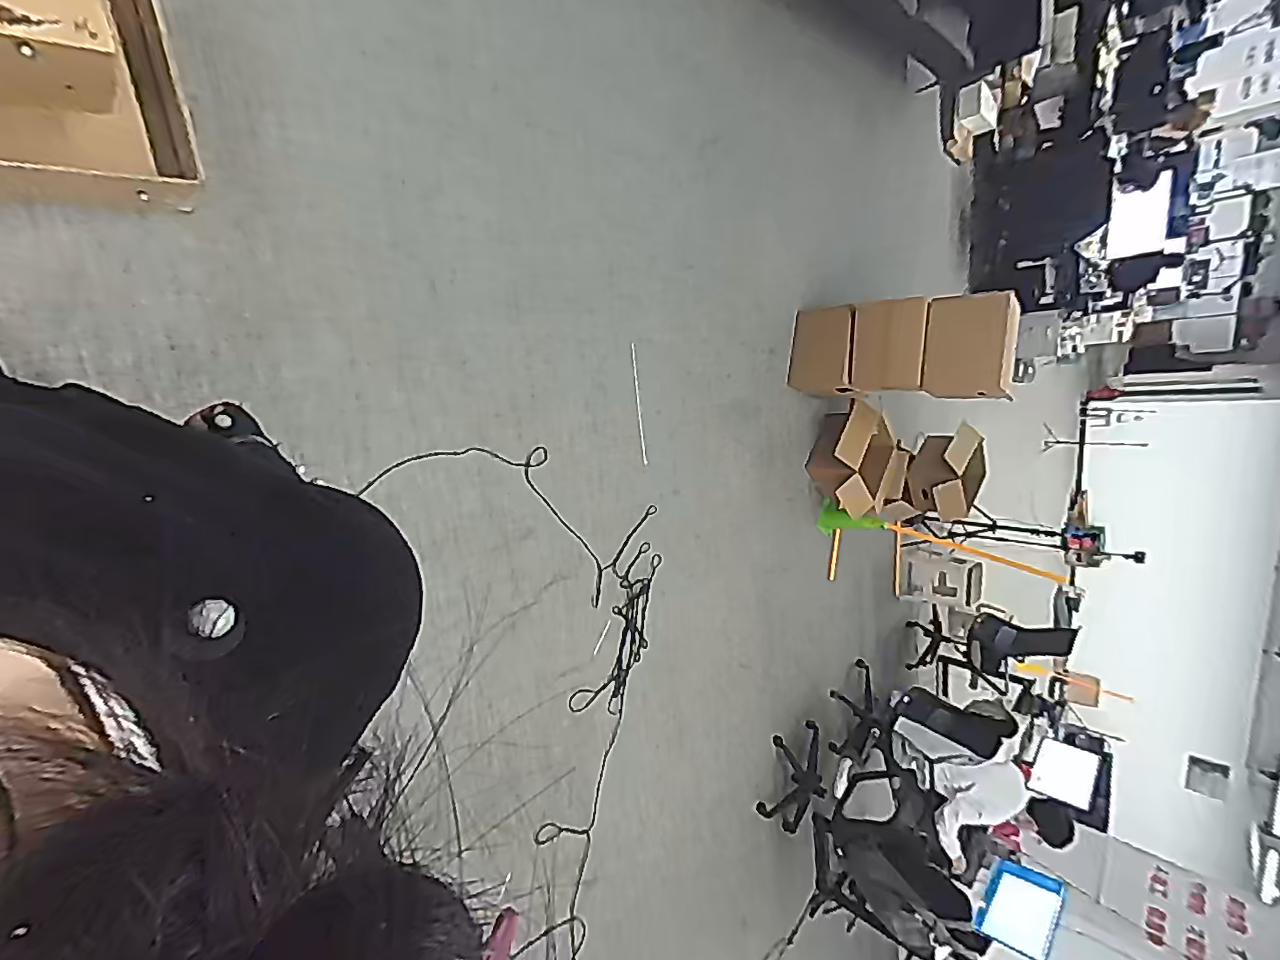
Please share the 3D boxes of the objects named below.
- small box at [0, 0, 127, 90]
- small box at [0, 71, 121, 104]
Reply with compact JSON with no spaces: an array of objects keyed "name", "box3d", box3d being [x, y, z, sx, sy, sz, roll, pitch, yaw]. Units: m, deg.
[{"name":"small box","box3d":[-0.897,-0.723,0.798,0.168,0.176,0.179,-20,109,-39]},{"name":"small box","box3d":[-1.017,-0.761,0.906,0.179,0.176,0.168,-25,113,-38]}]
